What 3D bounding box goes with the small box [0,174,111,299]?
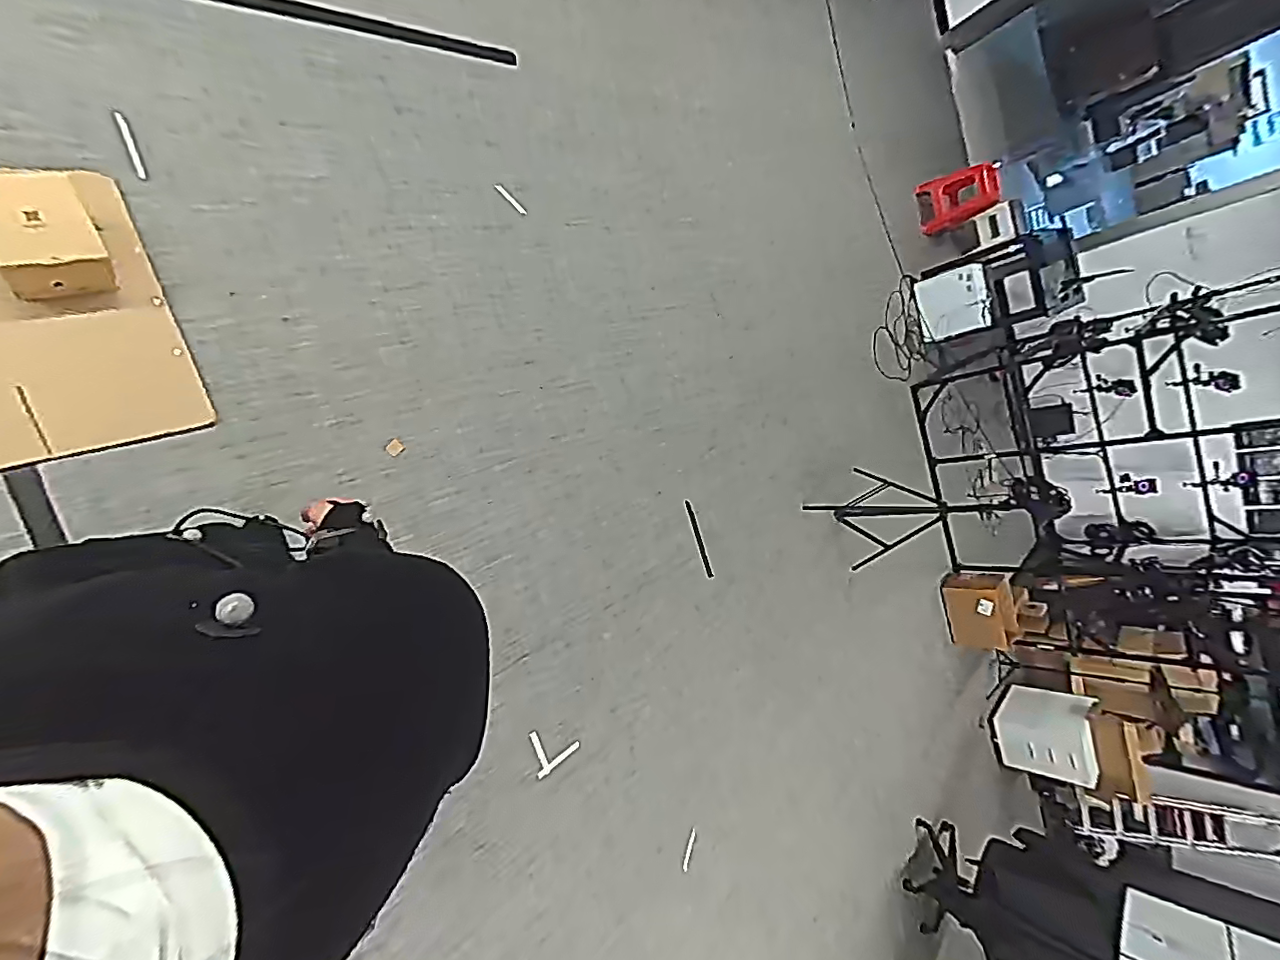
[{"bbox_3d":[-1.235,-0.494,1.106,0.168,0.176,0.179,-29,103,-38],"label":"small box"}]
